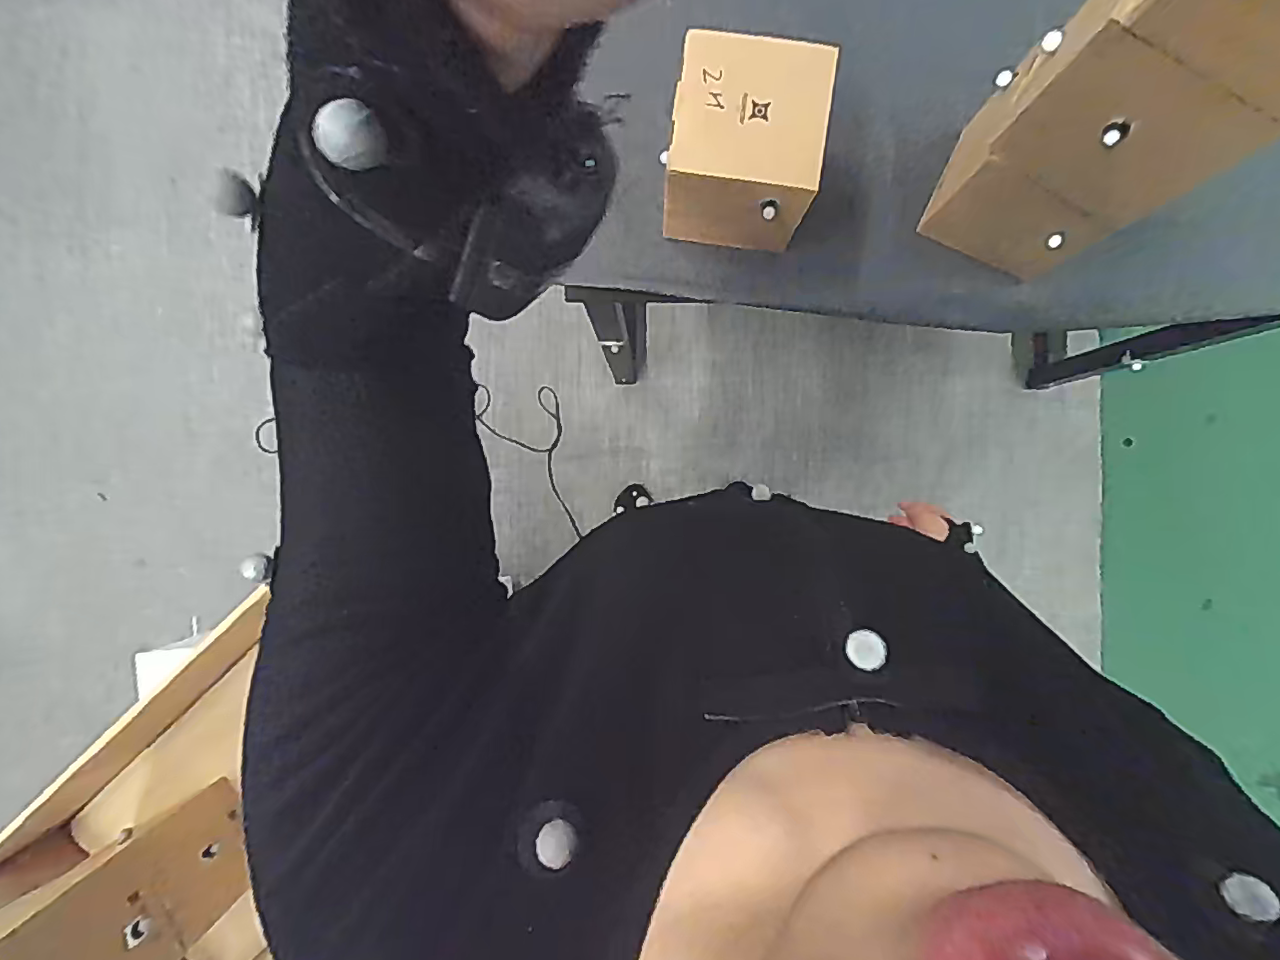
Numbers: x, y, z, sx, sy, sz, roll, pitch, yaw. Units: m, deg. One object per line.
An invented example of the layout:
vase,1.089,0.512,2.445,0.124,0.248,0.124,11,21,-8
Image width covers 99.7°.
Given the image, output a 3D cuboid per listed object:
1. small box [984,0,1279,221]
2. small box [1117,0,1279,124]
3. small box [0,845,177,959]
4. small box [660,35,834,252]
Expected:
small box,0.487,-0.384,0.516,0.179,0.176,0.168,34,89,3
small box,0.485,-0.386,0.353,0.179,0.176,0.168,33,89,2
small box,-0.708,0.581,0.624,0.179,0.176,0.168,-27,91,-1
small box,0.124,-0.411,0.691,0.179,0.176,0.168,9,89,2
